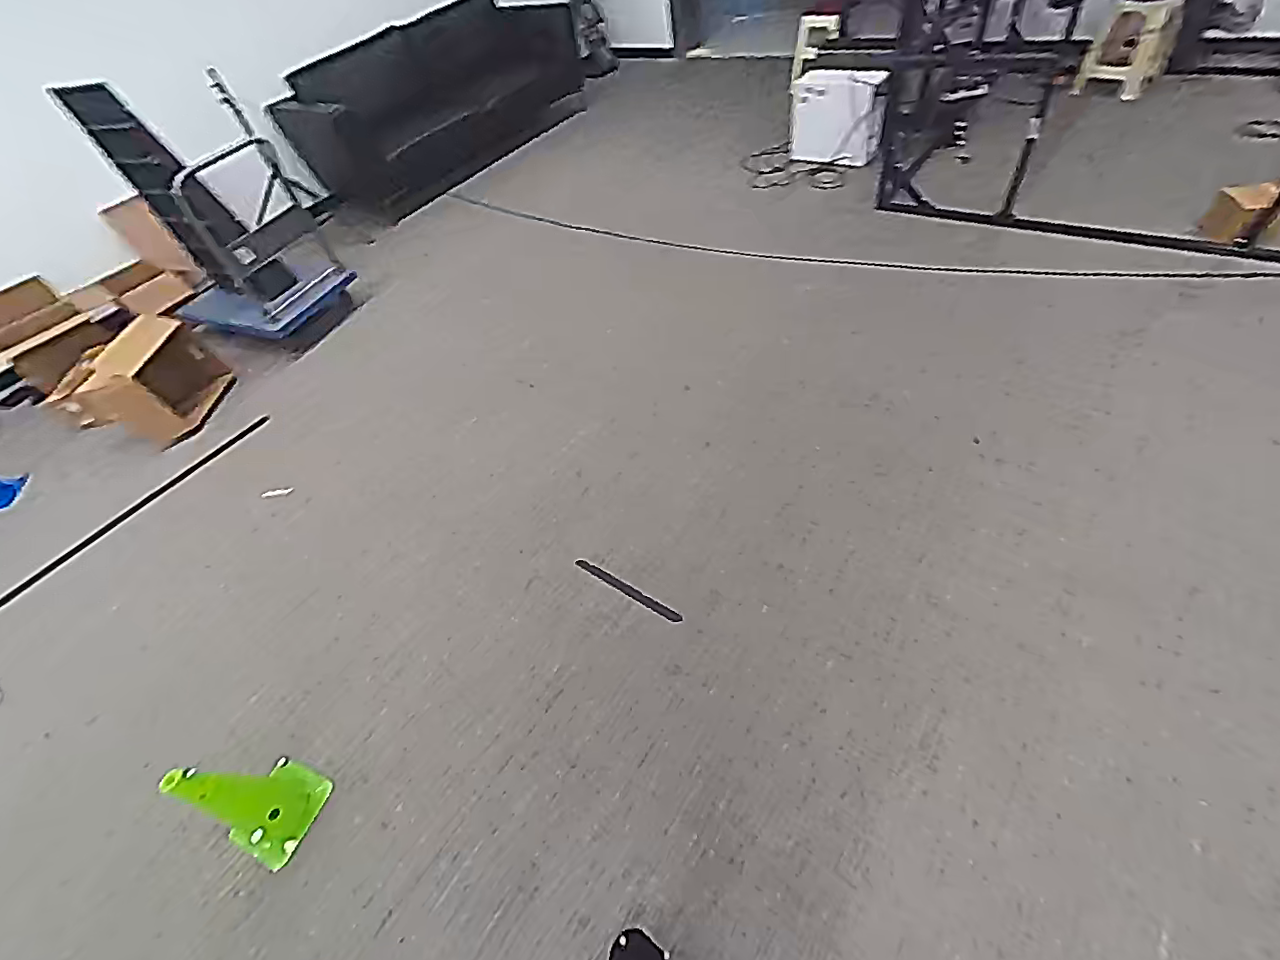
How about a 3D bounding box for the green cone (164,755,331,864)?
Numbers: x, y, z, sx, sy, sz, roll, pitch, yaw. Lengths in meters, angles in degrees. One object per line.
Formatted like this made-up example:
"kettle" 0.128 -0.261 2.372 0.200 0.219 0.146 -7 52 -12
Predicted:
"green cone" -0.945 0.728 1.253 0.202 0.368 0.200 12 55 20
